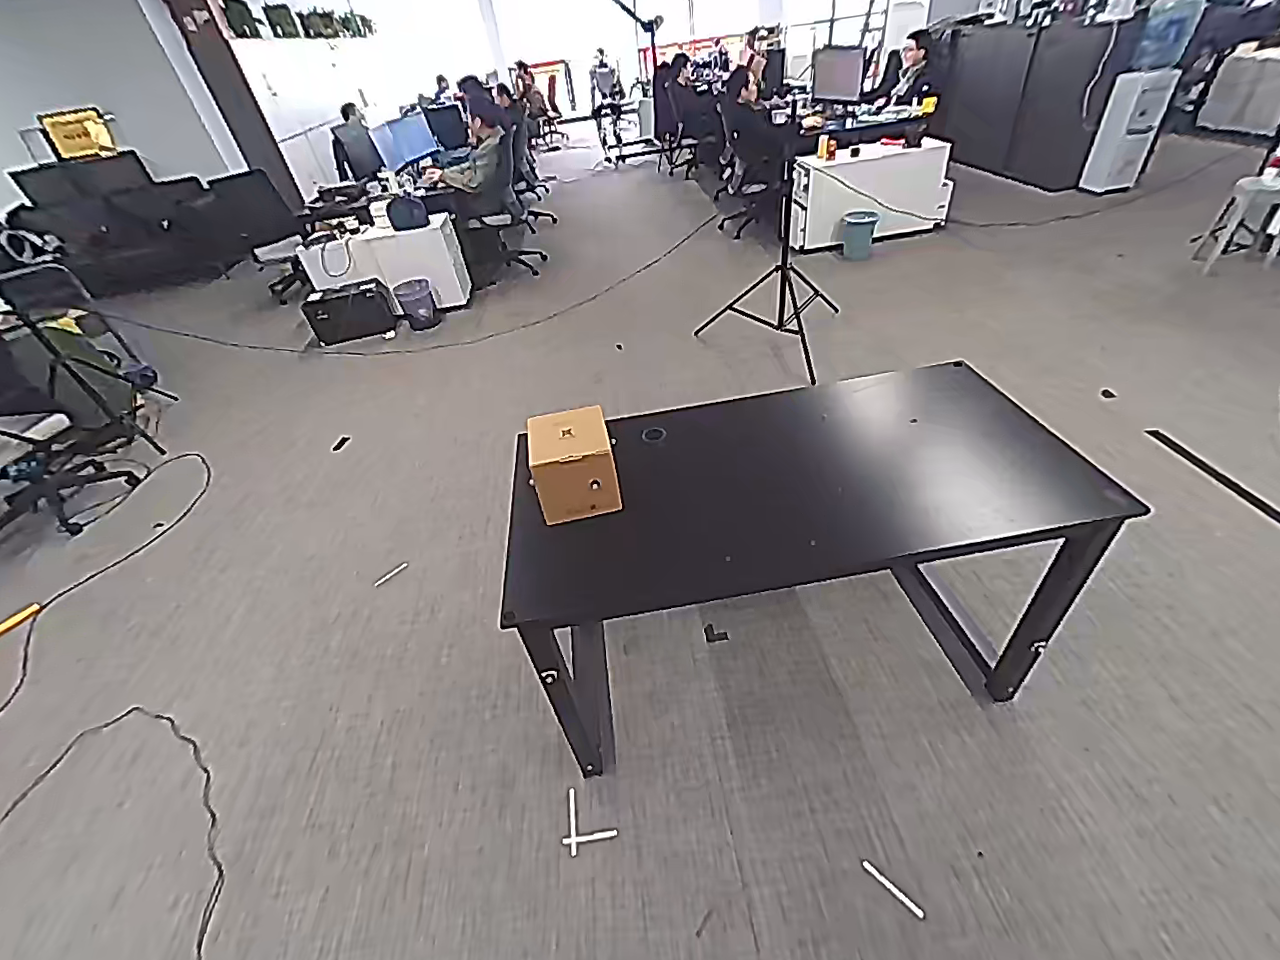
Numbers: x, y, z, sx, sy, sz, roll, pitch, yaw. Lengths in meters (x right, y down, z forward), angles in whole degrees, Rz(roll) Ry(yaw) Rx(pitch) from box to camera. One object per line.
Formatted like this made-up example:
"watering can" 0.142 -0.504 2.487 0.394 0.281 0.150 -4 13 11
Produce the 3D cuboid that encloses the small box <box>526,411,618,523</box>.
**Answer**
"small box" -0.148 -0.023 1.178 0.168 0.176 0.179 -11 39 -5
